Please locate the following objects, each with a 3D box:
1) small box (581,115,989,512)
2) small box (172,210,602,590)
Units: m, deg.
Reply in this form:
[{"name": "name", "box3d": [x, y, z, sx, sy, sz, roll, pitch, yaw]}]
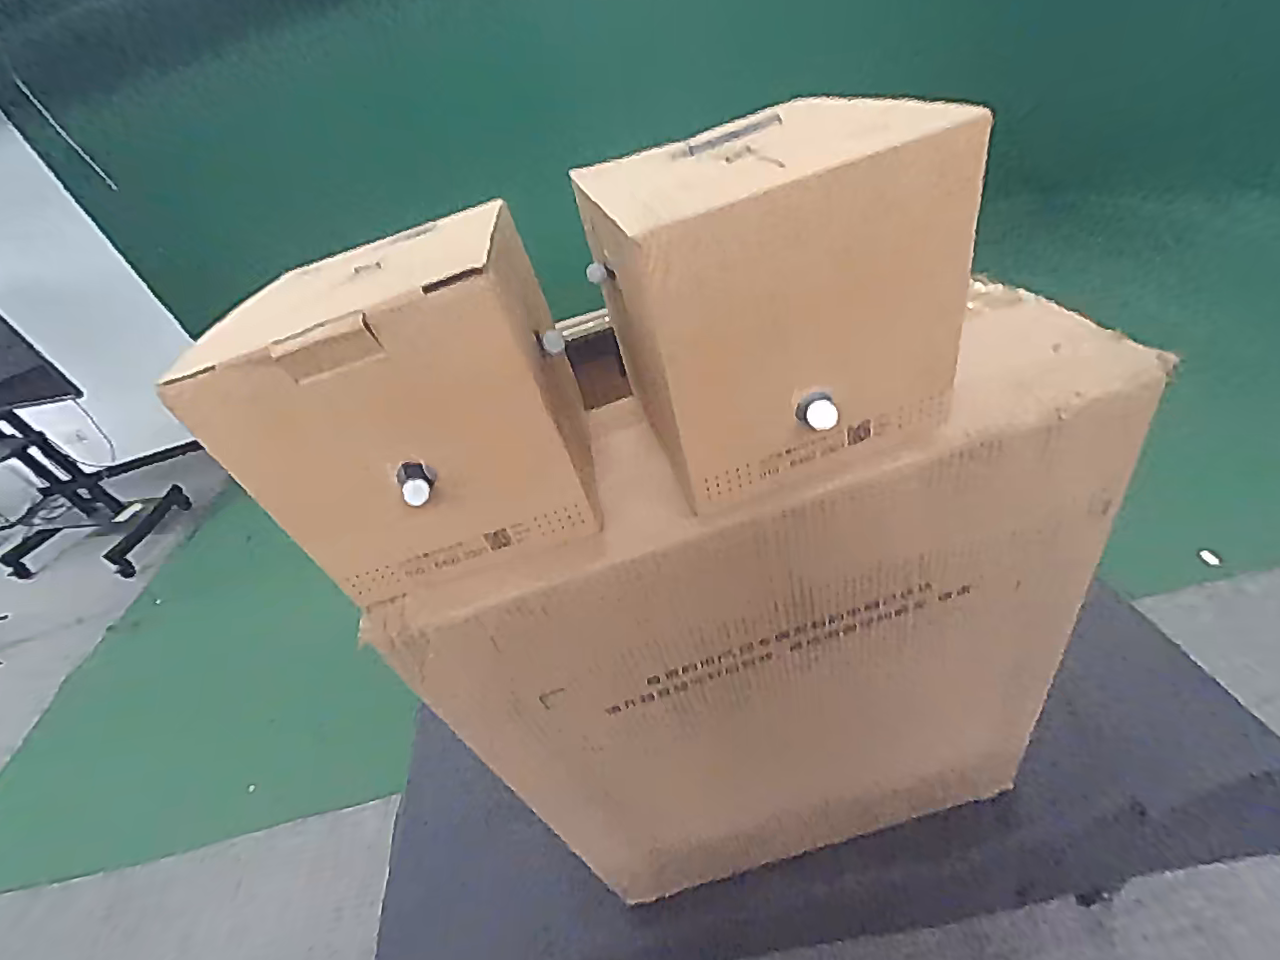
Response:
[{"name": "small box", "box3d": [0.074, -0.110, 0.347, 0.168, 0.176, 0.179, -20, 39, -3]}, {"name": "small box", "box3d": [-0.132, -0.049, 0.360, 0.168, 0.176, 0.179, -18, 38, 2]}]
